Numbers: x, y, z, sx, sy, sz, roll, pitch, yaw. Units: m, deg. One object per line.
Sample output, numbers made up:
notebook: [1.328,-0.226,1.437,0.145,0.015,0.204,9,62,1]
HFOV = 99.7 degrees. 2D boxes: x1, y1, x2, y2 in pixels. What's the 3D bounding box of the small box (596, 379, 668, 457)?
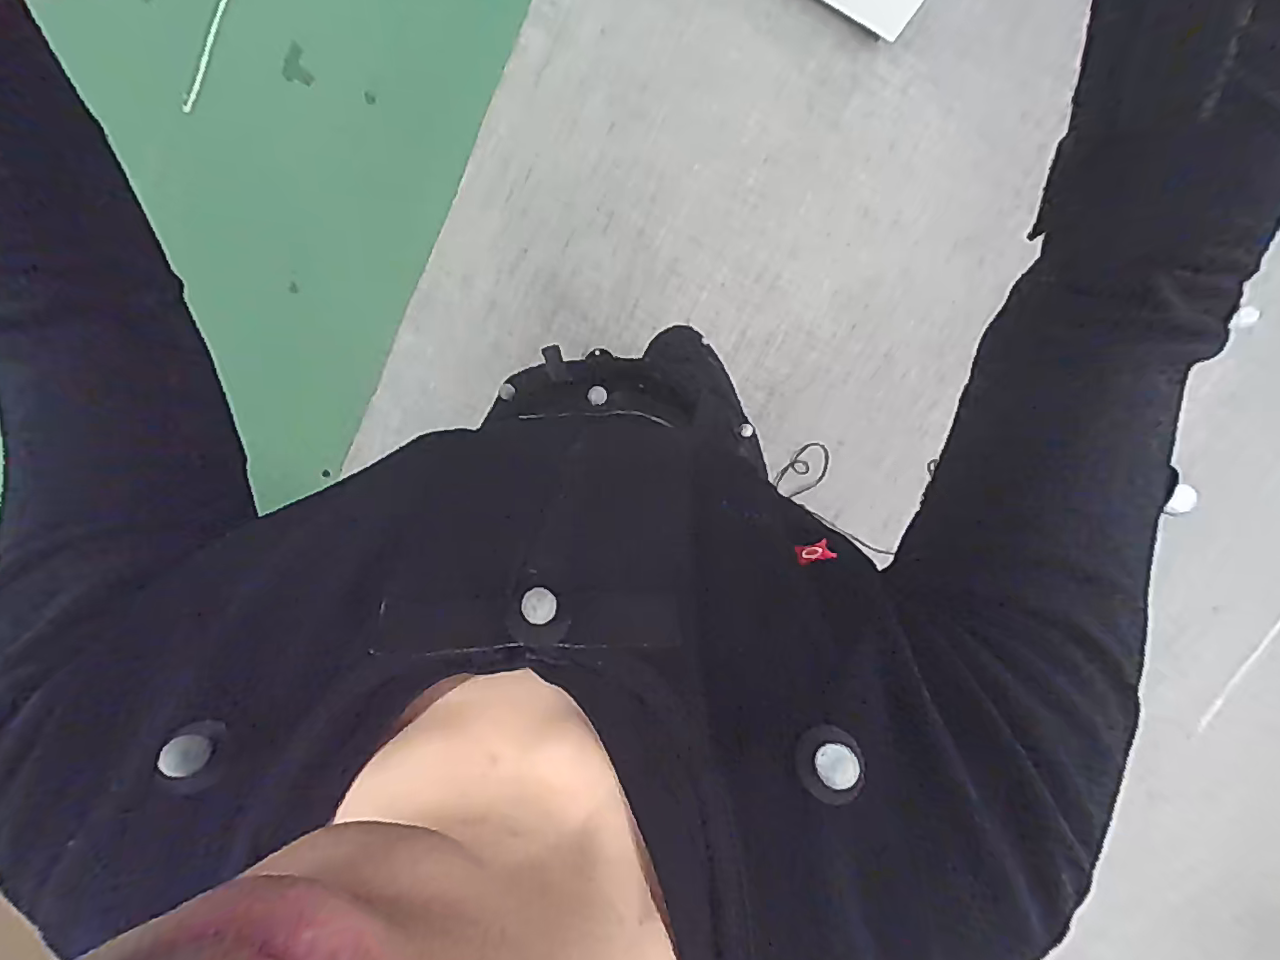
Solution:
small box: [-0.024,-0.164,1.383,0.168,0.176,0.179,-3,104,-8]
